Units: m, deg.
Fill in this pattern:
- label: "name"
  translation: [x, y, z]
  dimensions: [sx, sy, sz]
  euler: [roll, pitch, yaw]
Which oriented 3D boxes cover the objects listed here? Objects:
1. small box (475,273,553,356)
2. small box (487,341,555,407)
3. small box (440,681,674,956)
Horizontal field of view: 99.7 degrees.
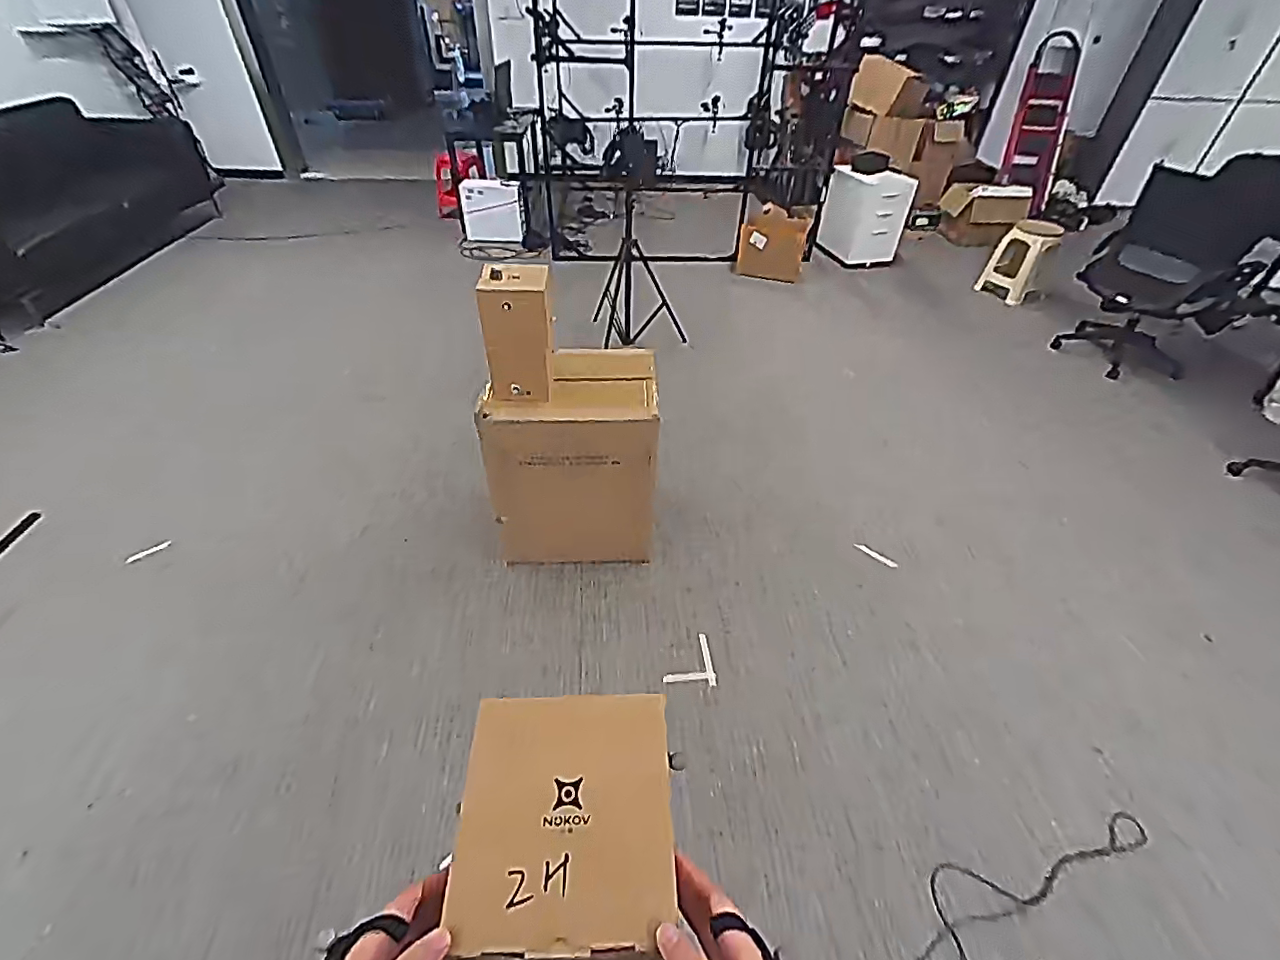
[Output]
- label: "small box"
  translation: [-0.337, -0.453, 1.480]
  dimensions: [0.179, 0.176, 0.168]
  euler: [-1, 43, -4]
- label: "small box"
  translation: [-0.343, -0.332, 1.592]
  dimensions: [0.168, 0.176, 0.179]
  euler: [-1, 44, -3]
- label: "small box"
  translation: [-0.059, 0.304, 0.488]
  dimensions: [0.168, 0.176, 0.179]
  euler: [-2, 45, -1]
